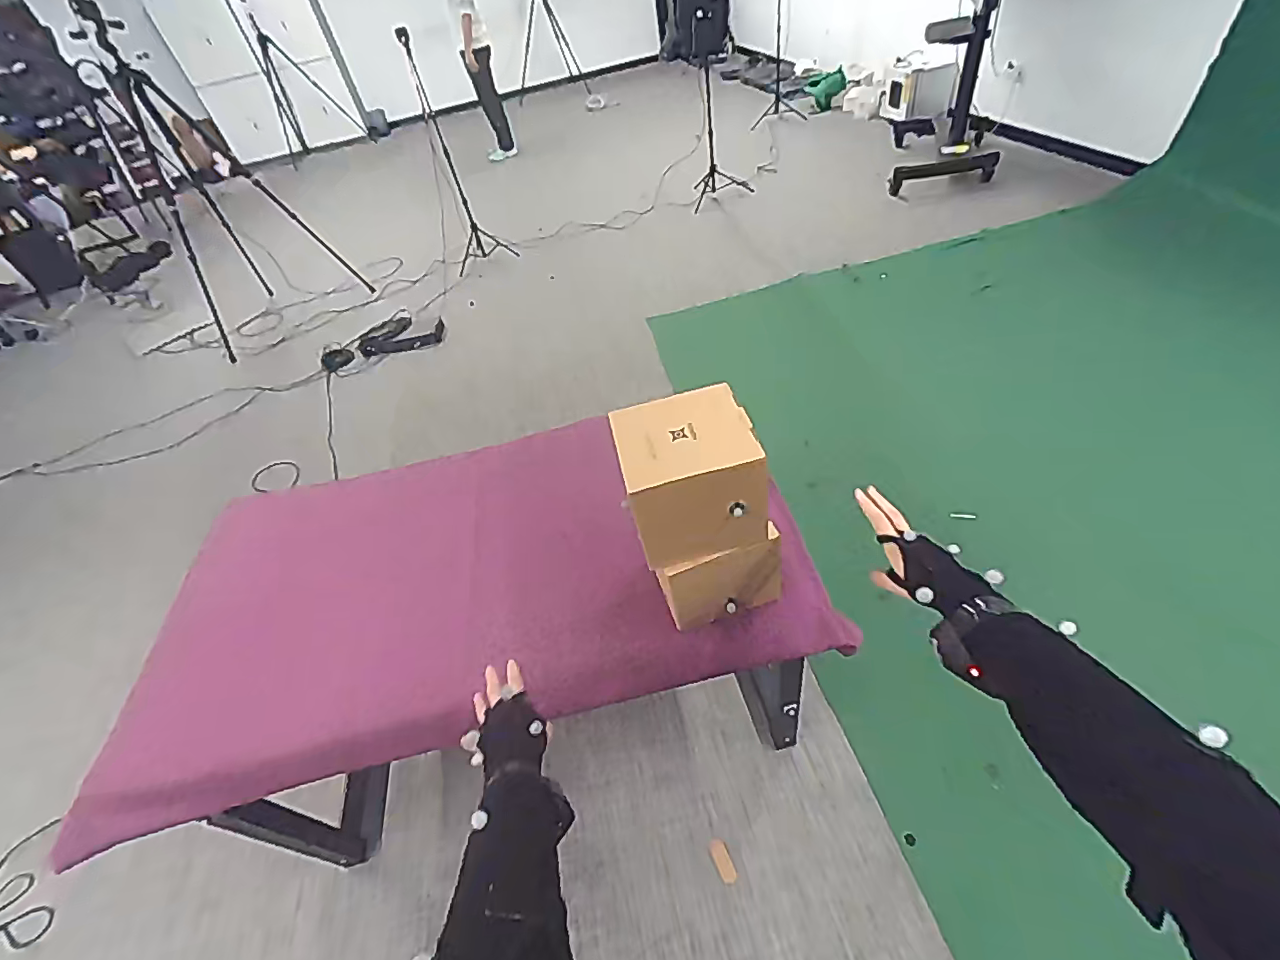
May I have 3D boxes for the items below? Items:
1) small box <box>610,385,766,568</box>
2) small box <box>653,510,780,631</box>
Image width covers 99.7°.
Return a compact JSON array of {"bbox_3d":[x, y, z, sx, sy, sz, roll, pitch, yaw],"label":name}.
[{"bbox_3d":[0.067,-0.002,0.758,0.179,0.176,0.168,-15,45,1],"label":"small box"},{"bbox_3d":[0.108,0.113,0.868,0.179,0.176,0.168,-18,45,-4],"label":"small box"}]
